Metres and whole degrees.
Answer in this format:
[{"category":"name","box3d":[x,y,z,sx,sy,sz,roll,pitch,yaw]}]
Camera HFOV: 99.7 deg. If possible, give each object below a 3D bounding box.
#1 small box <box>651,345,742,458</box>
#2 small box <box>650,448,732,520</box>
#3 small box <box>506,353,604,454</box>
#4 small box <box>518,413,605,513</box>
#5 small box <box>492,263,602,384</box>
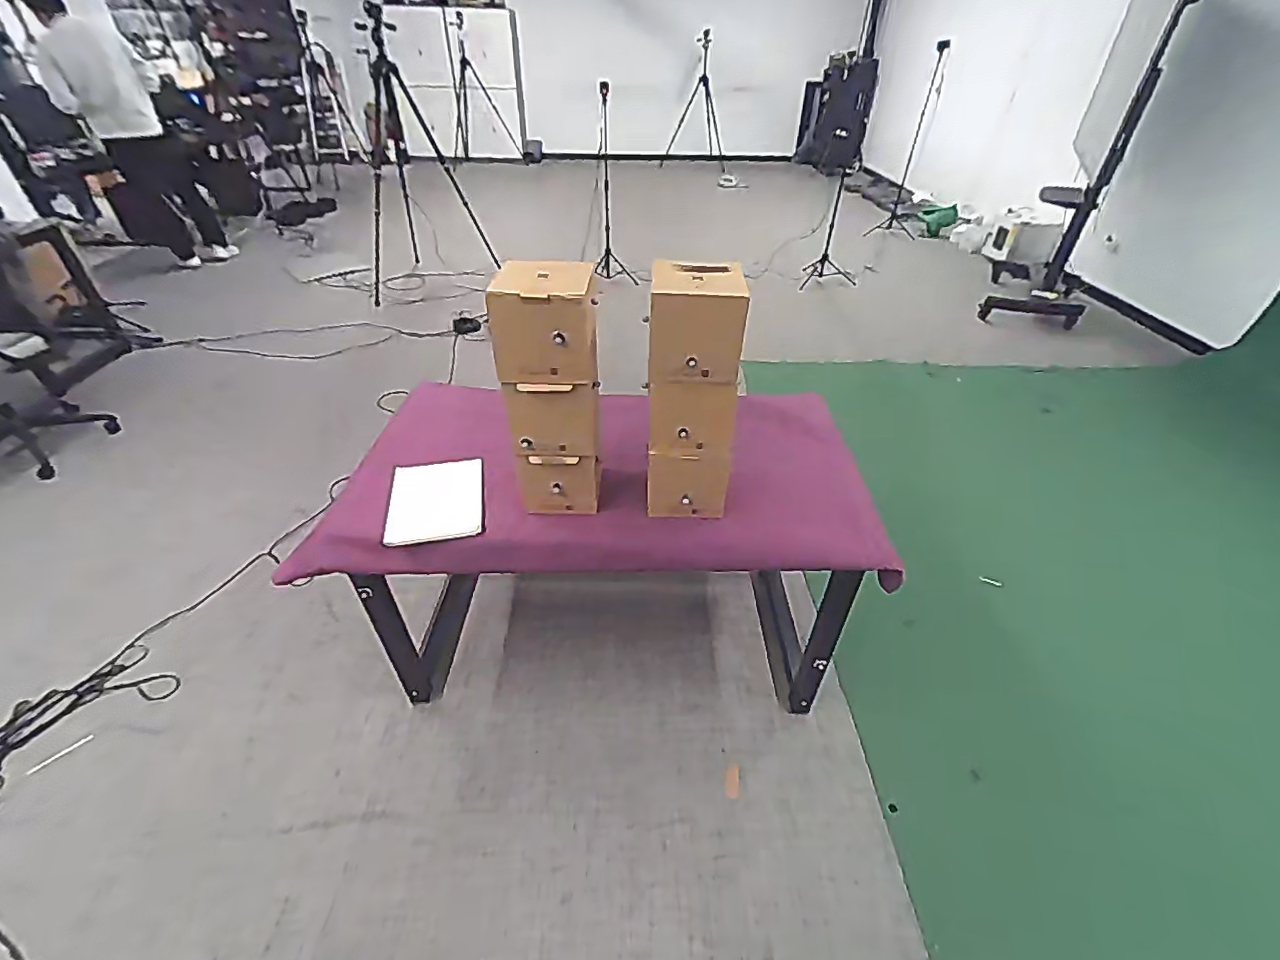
[{"category":"small box","box3d":[0.109,-0.163,1.114,0.168,0.176,0.179,2,38,1]},{"category":"small box","box3d":[0.108,-0.030,1.210,0.168,0.176,0.179,1,38,2]},{"category":"small box","box3d":[-0.164,-0.166,1.109,0.168,0.176,0.179,2,38,1]},{"category":"small box","box3d":[-0.167,-0.041,1.217,0.168,0.176,0.179,2,40,0]},{"category":"small box","box3d":[-0.161,-0.290,1.003,0.168,0.176,0.179,3,38,1]}]
